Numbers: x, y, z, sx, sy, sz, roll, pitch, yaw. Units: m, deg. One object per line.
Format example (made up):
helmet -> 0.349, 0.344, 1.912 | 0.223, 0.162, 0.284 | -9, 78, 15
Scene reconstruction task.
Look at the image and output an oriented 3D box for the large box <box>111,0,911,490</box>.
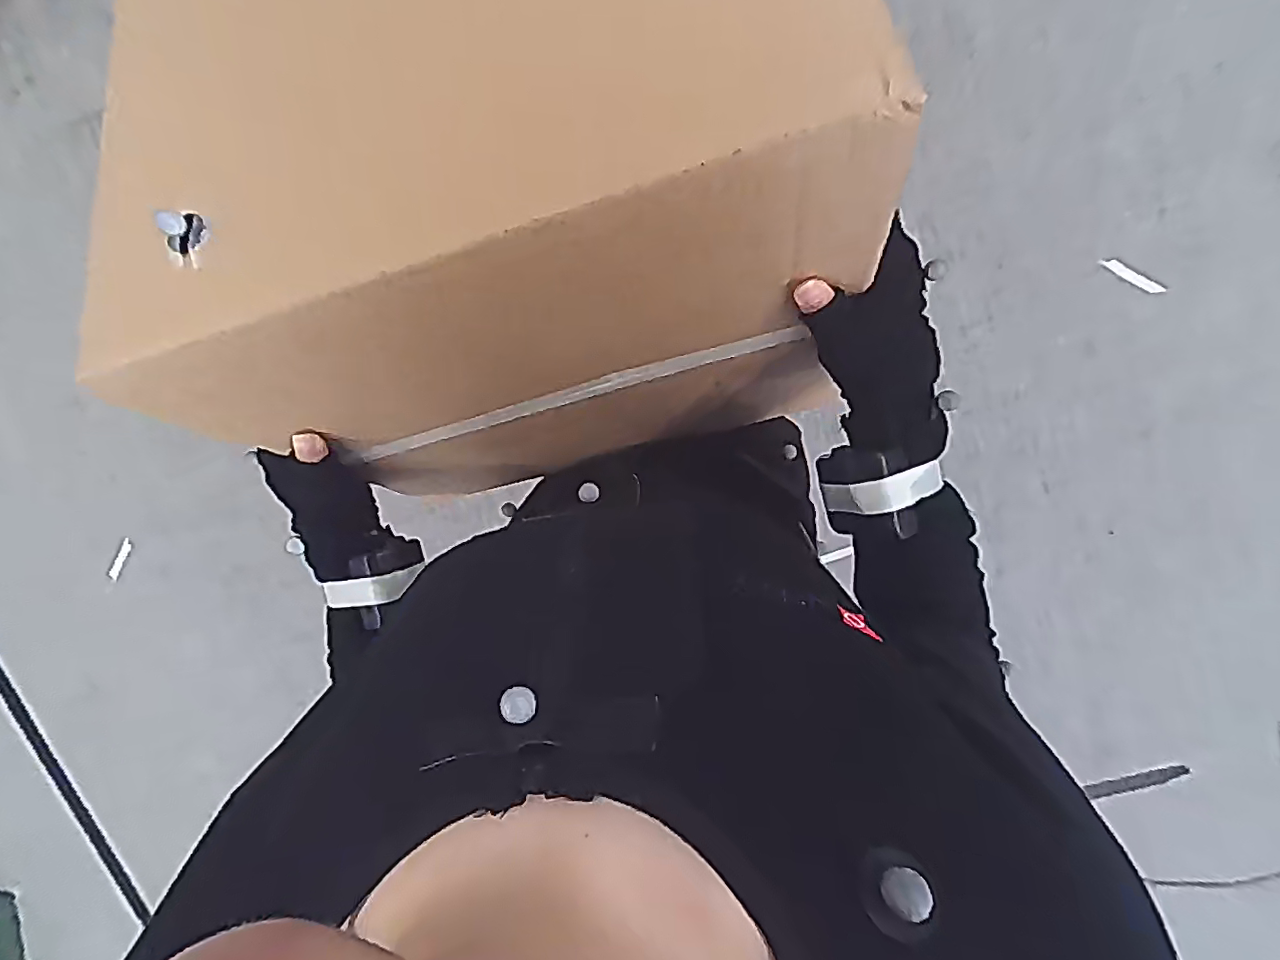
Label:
large box -> -0.079, -0.214, 0.424 | 0.408, 0.320, 0.320 | -14, 75, 9
